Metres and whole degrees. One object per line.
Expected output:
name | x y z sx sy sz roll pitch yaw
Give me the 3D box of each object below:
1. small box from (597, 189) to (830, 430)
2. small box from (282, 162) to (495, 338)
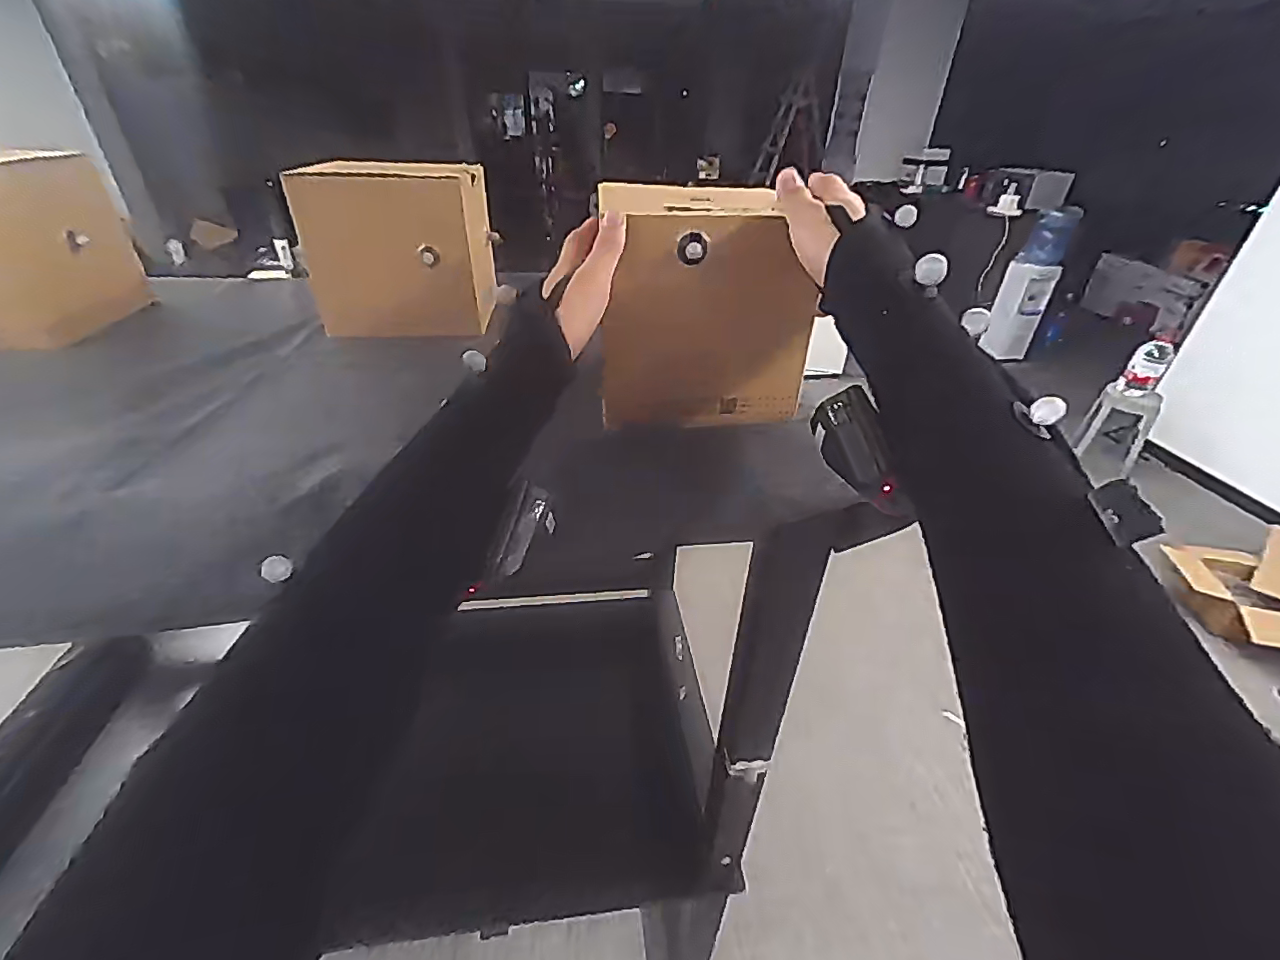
small box | 0.046 -0.157 0.484 0.168 0.176 0.179 -1 33 -3
small box | -0.276 -0.274 0.647 0.179 0.176 0.168 -2 33 -6
